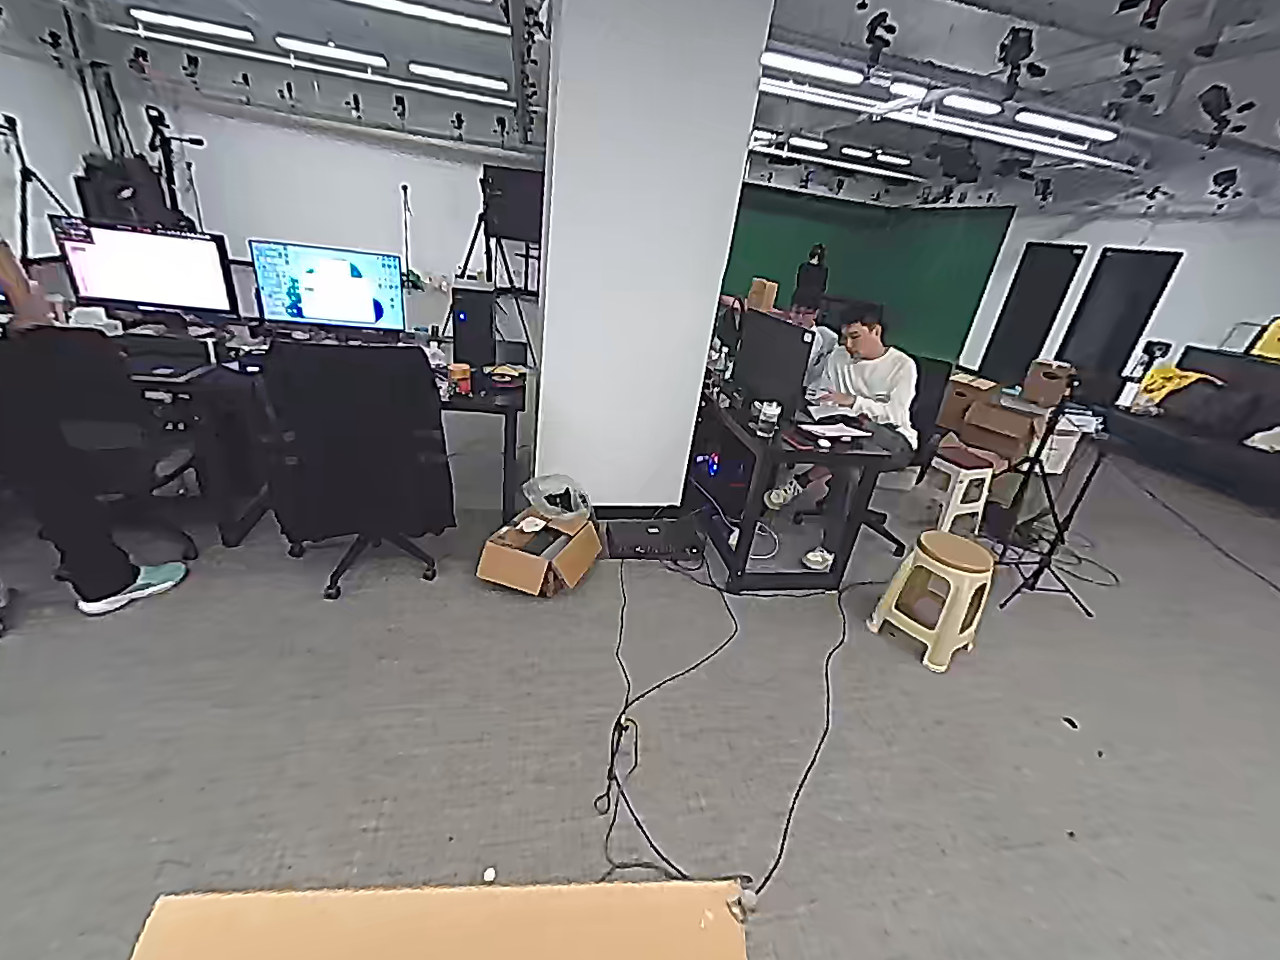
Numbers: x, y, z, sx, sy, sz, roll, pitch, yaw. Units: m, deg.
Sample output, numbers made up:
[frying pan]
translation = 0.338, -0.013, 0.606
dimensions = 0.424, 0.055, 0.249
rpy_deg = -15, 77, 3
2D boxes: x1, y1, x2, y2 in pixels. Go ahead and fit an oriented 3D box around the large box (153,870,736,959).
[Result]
[large box]
translation = -0.143, 0.512, 0.426
dimensions = 0.408, 0.320, 0.320
rpy_deg = 4, 53, -7
